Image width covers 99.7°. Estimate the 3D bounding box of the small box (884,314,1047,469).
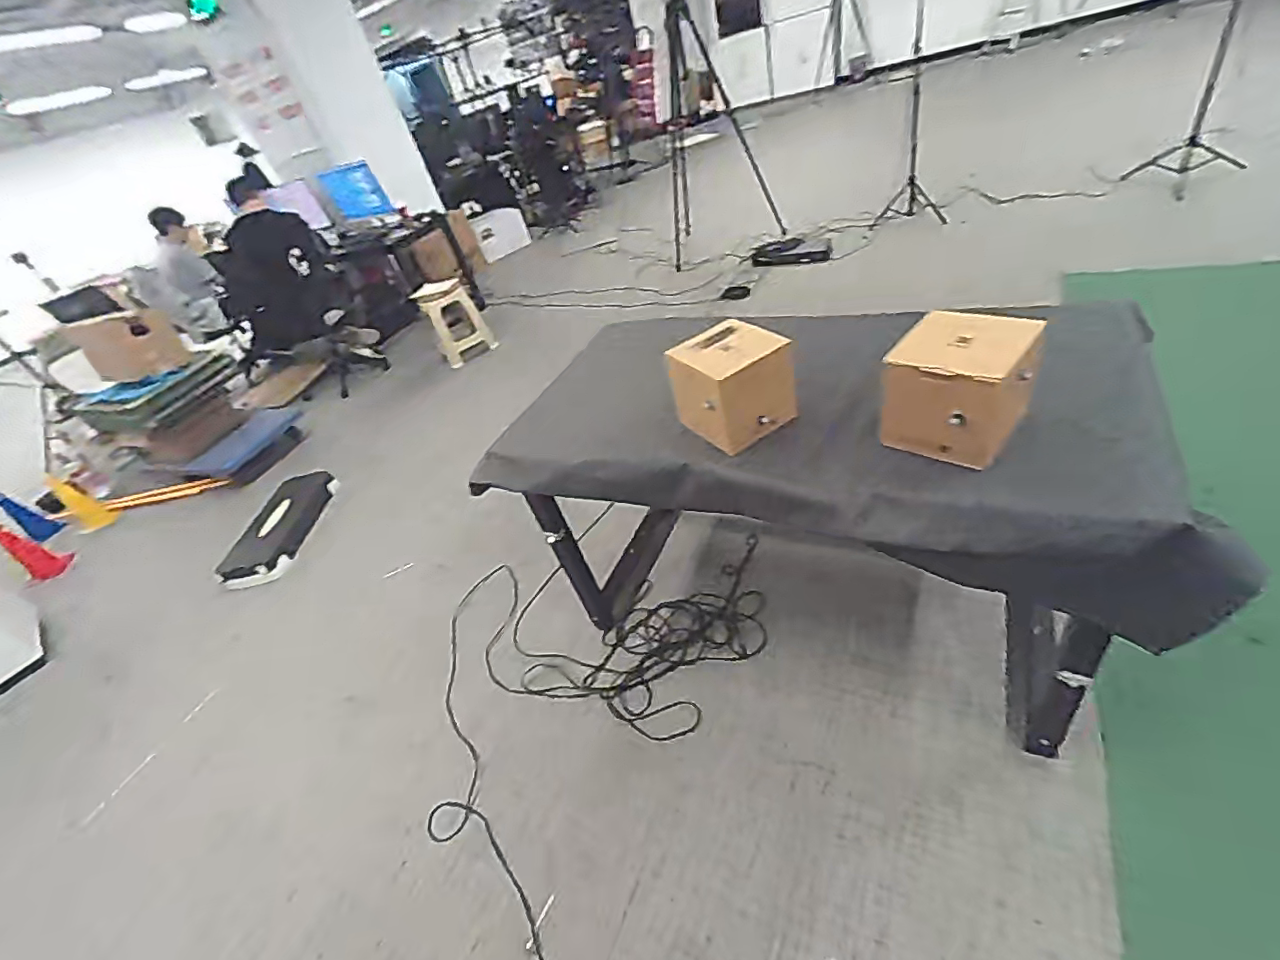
[{"bbox_3d":[0.511,-0.143,0.864,0.168,0.176,0.179,24,53,41],"label":"small box"}]
